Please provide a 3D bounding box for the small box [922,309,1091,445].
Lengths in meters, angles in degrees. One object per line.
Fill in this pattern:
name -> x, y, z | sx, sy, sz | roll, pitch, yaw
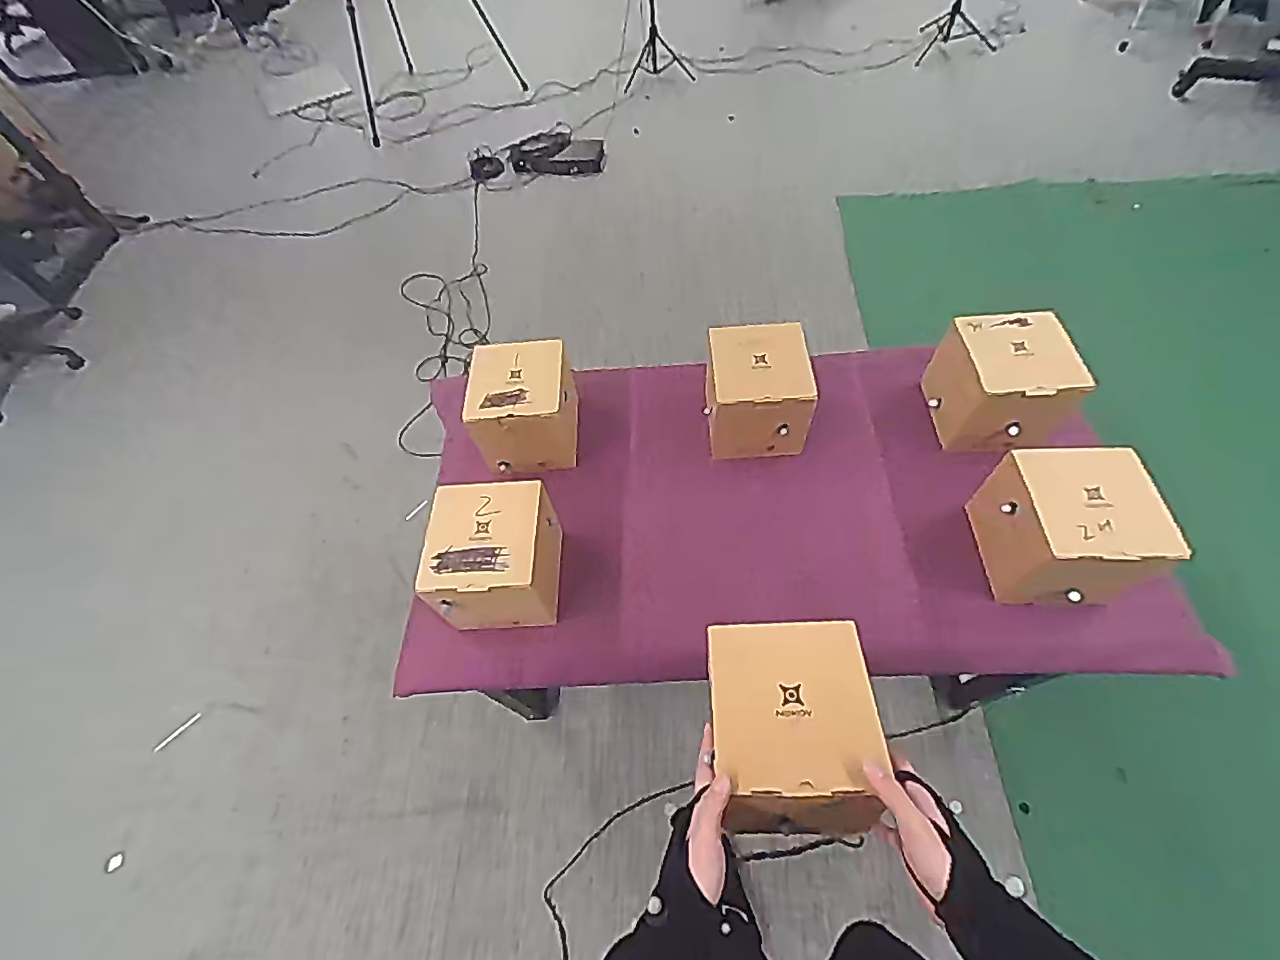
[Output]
small box -> 0.623, -0.171, 0.948 | 0.168, 0.176, 0.179 | -3, 59, 5

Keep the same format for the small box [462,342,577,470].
small box -> -0.213, -0.129, 1.009 | 0.168, 0.176, 0.179 | -4, 58, 3

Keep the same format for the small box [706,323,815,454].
small box -> 0.209, -0.158, 0.986 | 0.168, 0.176, 0.179 | -3, 58, 3

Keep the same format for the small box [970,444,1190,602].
small box -> 0.622, 0.066, 0.798 | 0.168, 0.176, 0.179 | -1, 58, 7

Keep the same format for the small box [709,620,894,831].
small box -> 0.164, 0.279, 0.617 | 0.168, 0.176, 0.179 | -4, 48, 7
